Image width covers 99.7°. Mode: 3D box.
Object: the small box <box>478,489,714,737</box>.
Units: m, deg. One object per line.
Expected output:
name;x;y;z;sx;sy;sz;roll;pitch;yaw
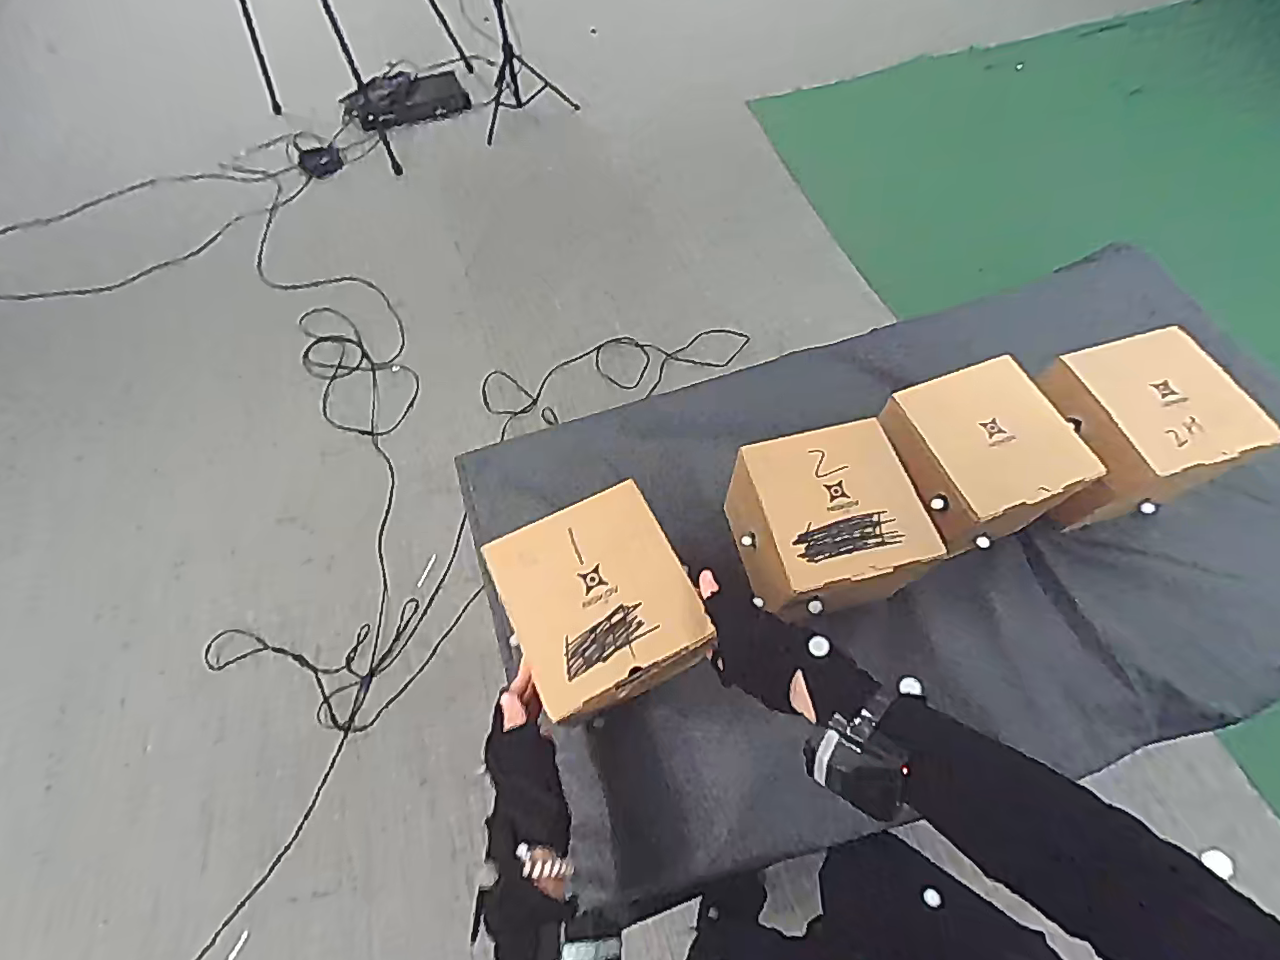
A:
small box;-0.043;0.145;0.564;0.168;0.176;0.179;-26;65;-13
